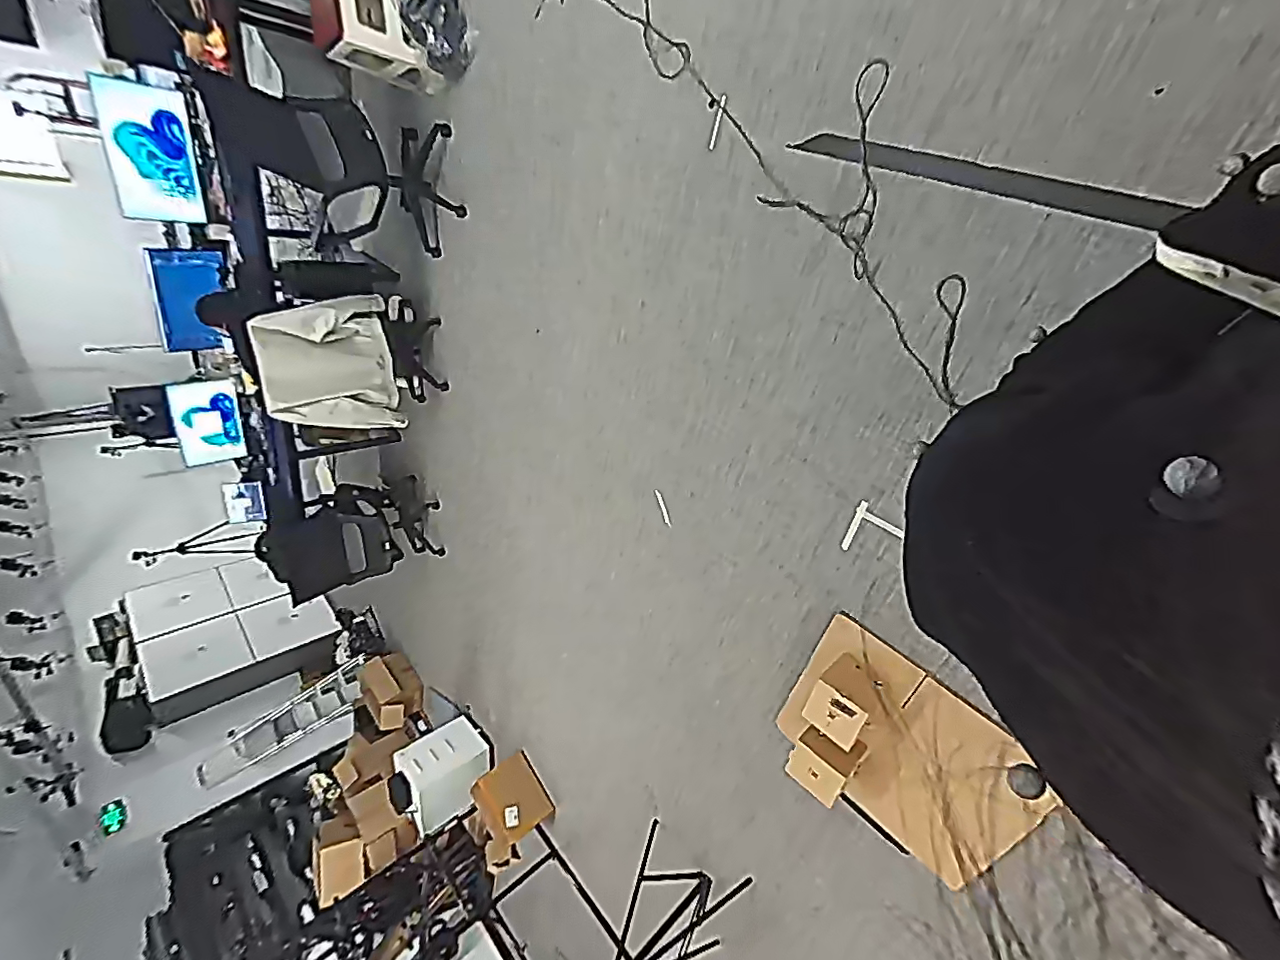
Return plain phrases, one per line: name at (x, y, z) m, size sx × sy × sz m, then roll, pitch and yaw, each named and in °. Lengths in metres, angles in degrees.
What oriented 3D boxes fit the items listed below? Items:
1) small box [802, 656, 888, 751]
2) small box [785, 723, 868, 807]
small box at (0.636, 0.680, 1.668) m, size 0.168 × 0.176 × 0.179 m, roll 33°, pitch 126°, yaw 34°
small box at (0.614, 0.914, 1.779) m, size 0.179 × 0.176 × 0.168 m, roll 30°, pitch 125°, yaw 35°
